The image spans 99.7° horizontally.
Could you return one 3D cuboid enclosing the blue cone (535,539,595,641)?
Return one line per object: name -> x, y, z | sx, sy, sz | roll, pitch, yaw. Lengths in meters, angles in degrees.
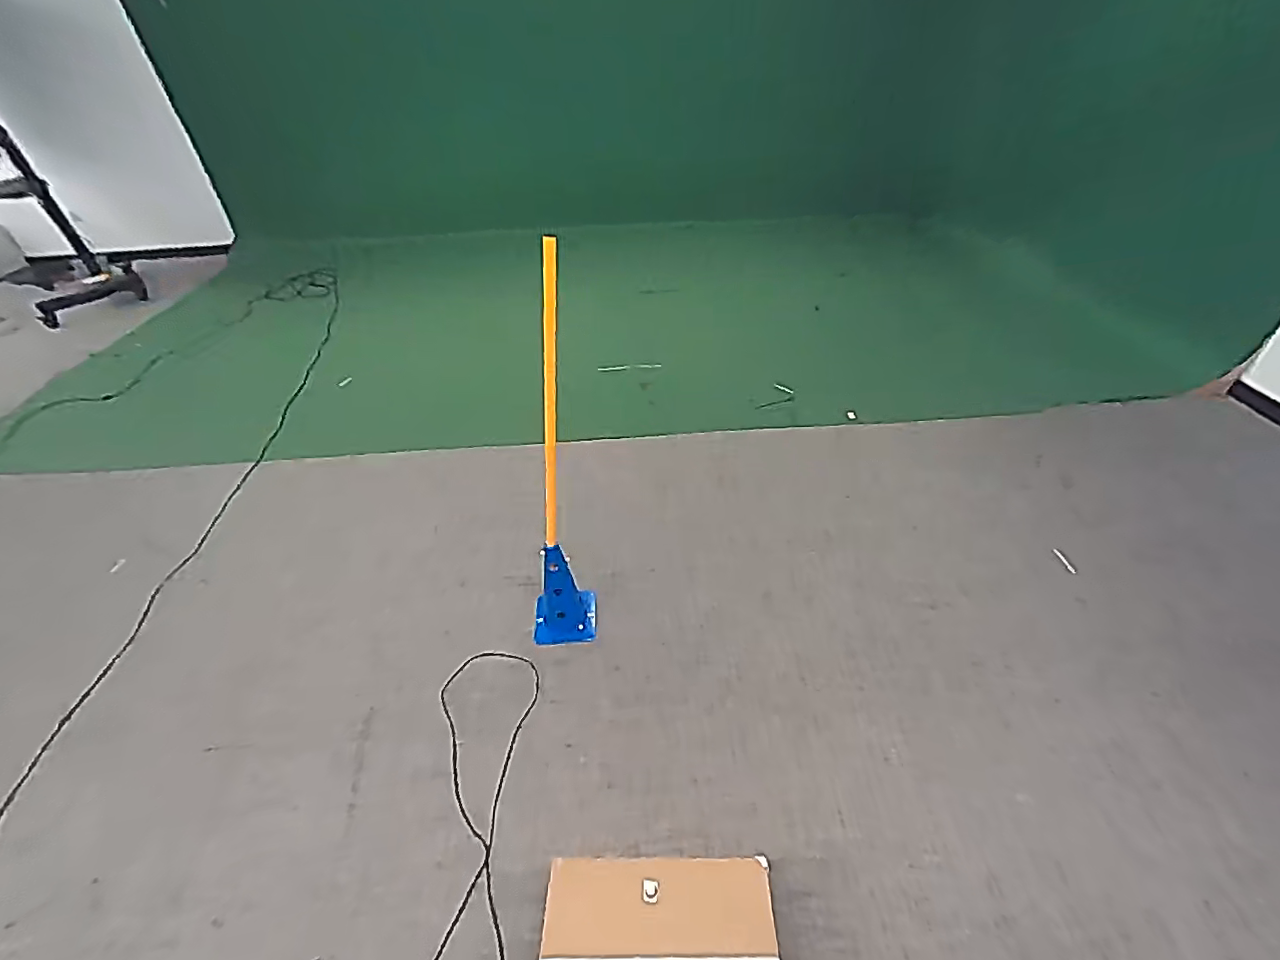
blue cone -> -0.249, 0.314, 1.664 | 0.193, 0.380, 0.192 | -4, 41, -4
